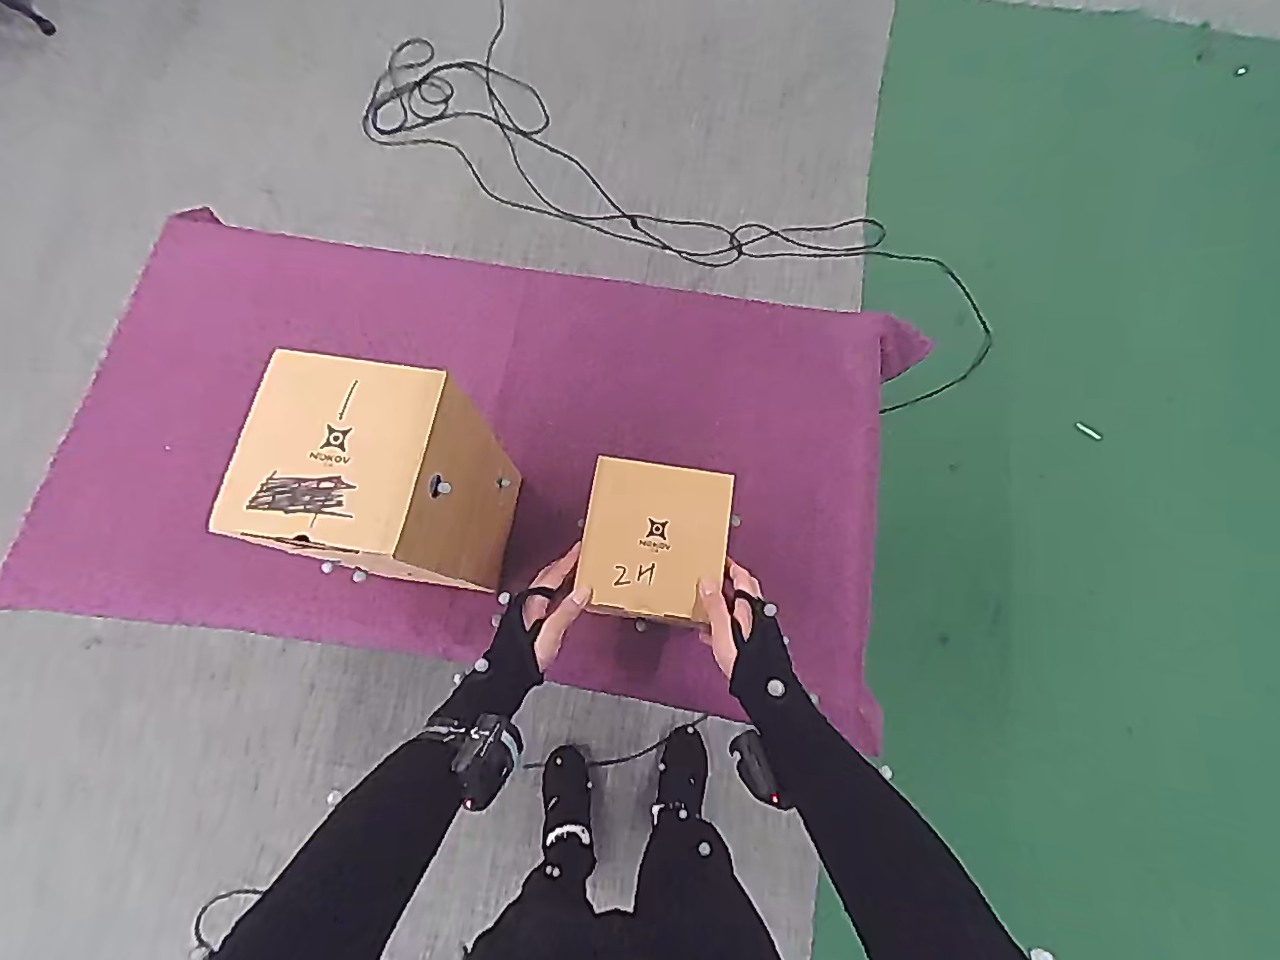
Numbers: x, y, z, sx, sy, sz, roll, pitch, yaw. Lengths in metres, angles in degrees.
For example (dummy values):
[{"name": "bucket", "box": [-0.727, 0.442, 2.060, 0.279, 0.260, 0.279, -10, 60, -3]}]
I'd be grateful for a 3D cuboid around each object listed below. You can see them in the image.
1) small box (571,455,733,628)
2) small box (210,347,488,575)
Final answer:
[{"name": "small box", "box": [0.016, 0.087, 0.695, 0.168, 0.176, 0.179, 9, 74, 3]}, {"name": "small box", "box": [-0.269, -0.007, 0.551, 0.168, 0.176, 0.179, 9, 73, 2]}]
